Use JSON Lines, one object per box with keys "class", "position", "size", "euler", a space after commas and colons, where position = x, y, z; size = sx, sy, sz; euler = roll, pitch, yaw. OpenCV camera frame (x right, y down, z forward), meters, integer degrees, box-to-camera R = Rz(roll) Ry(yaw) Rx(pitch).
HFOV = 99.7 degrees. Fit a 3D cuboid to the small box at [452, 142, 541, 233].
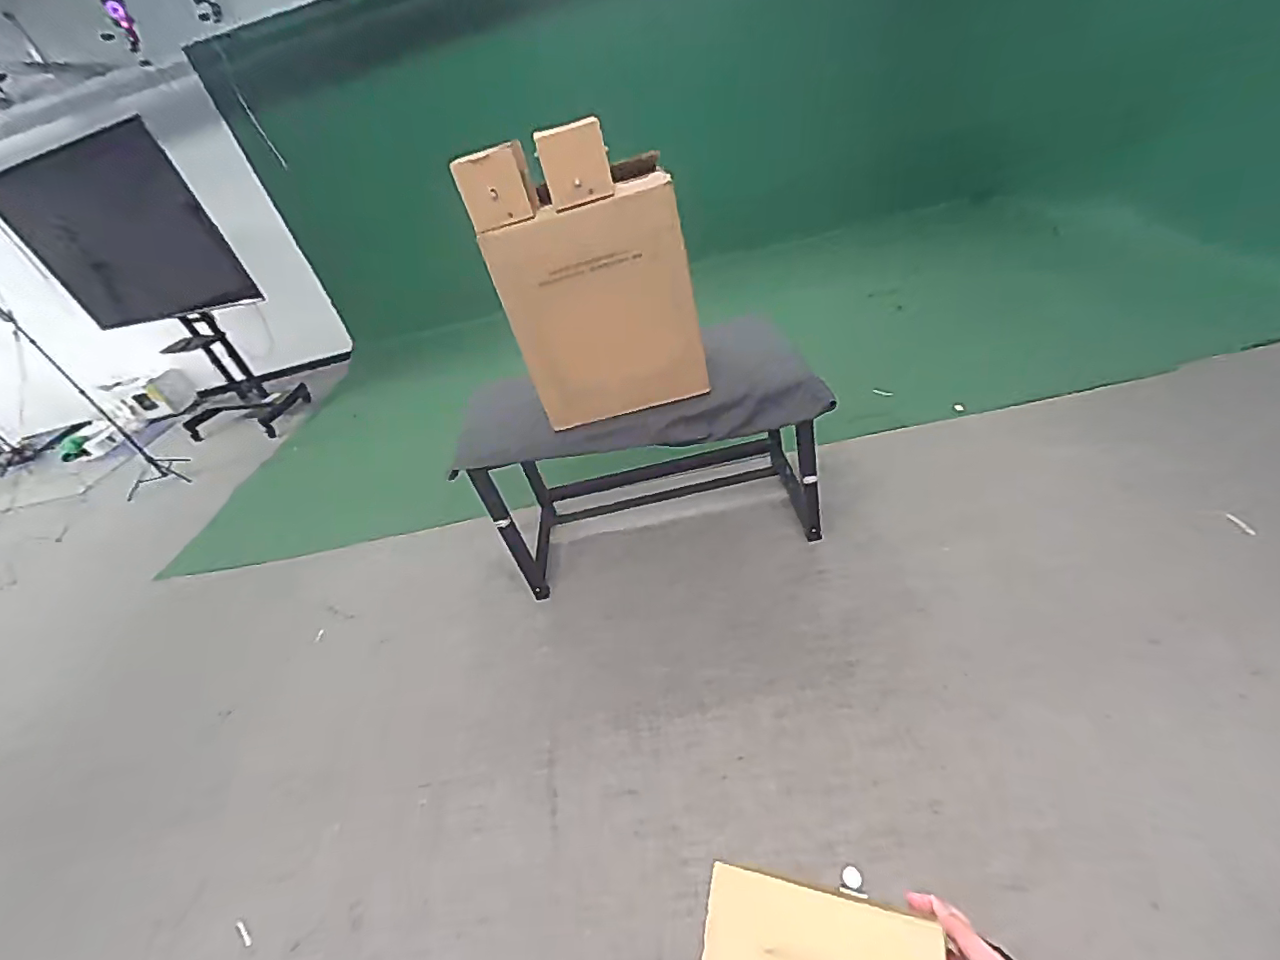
{"class": "small box", "position": [-0.377, -0.784, 1.458], "size": [0.168, 0.176, 0.179], "euler": [-13, 36, 6]}
